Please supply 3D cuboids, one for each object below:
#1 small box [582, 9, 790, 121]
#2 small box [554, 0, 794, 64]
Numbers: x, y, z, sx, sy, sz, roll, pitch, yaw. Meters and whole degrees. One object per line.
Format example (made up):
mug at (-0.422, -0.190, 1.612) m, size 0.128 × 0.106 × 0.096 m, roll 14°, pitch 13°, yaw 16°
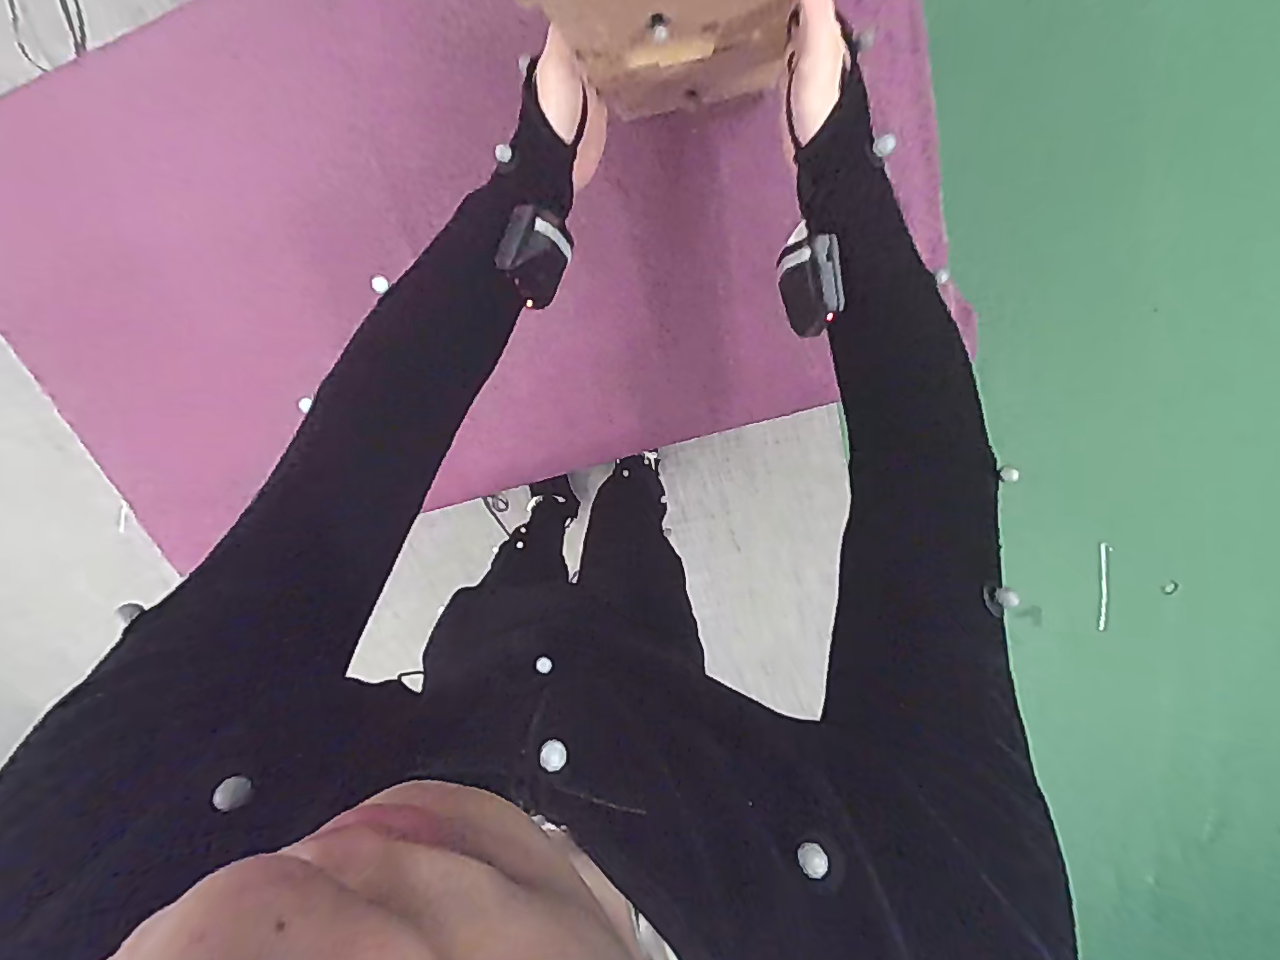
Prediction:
small box at (0.036, -0.443, 0.471) m, size 0.168 × 0.176 × 0.179 m, roll -4°, pitch 114°, yaw 12°
small box at (0.013, -0.388, 0.320) m, size 0.168 × 0.176 × 0.179 m, roll -4°, pitch 114°, yaw 10°
